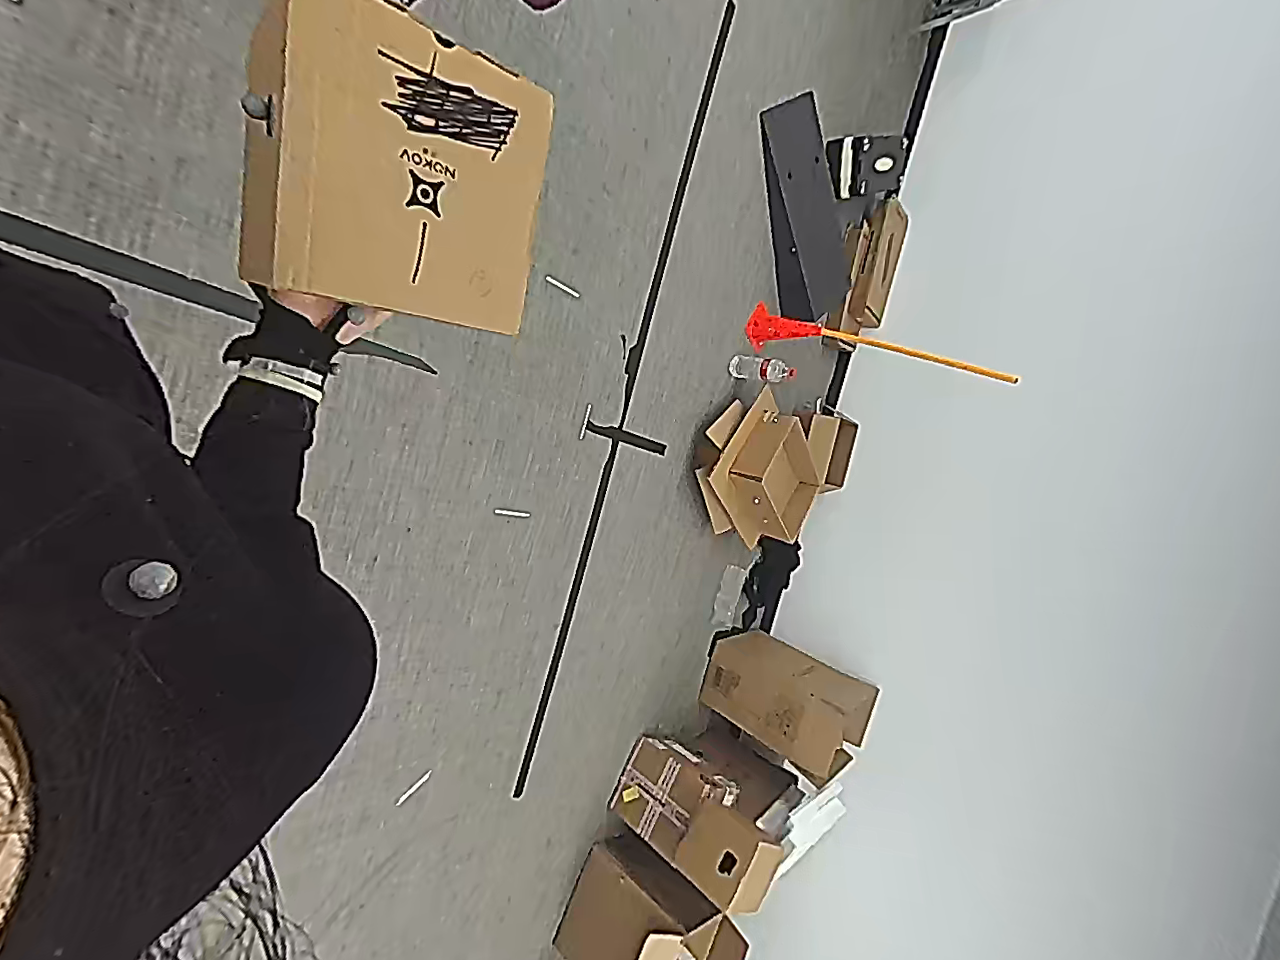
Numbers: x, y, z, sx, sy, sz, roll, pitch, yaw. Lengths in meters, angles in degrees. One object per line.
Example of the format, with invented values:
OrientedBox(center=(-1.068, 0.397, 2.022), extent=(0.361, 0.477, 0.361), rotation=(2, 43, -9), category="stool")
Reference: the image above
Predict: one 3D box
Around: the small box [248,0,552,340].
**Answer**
OrientedBox(center=(-0.194, -0.220, 0.423), extent=(0.168, 0.176, 0.179), rotation=(1, 106, -43), category="small box")
